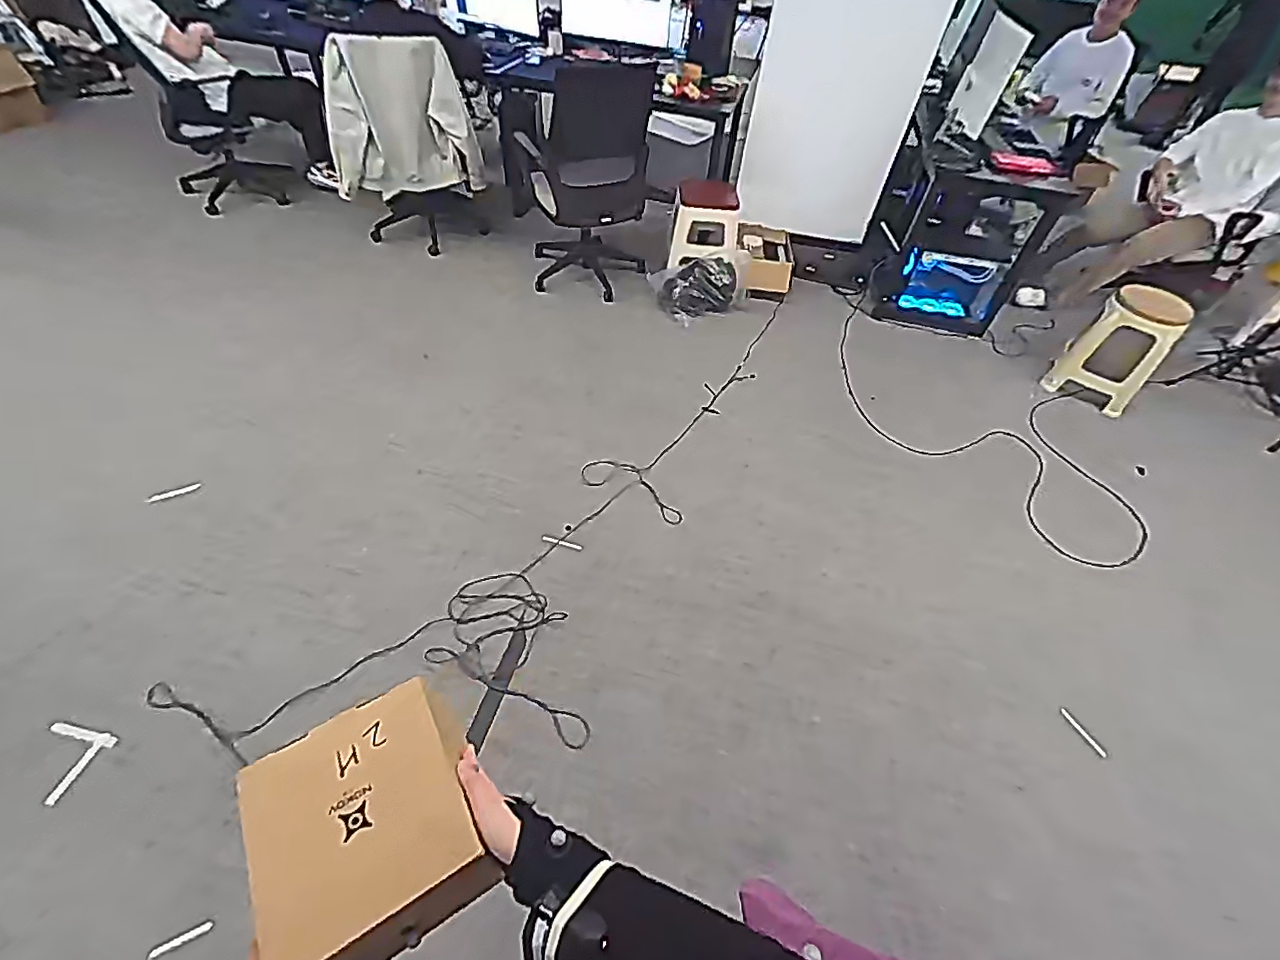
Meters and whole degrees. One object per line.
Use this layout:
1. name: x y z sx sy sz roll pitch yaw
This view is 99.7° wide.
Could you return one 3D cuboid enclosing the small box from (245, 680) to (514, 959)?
1. small box: -0.238 0.335 0.522 0.168 0.176 0.179 -25 54 -21
